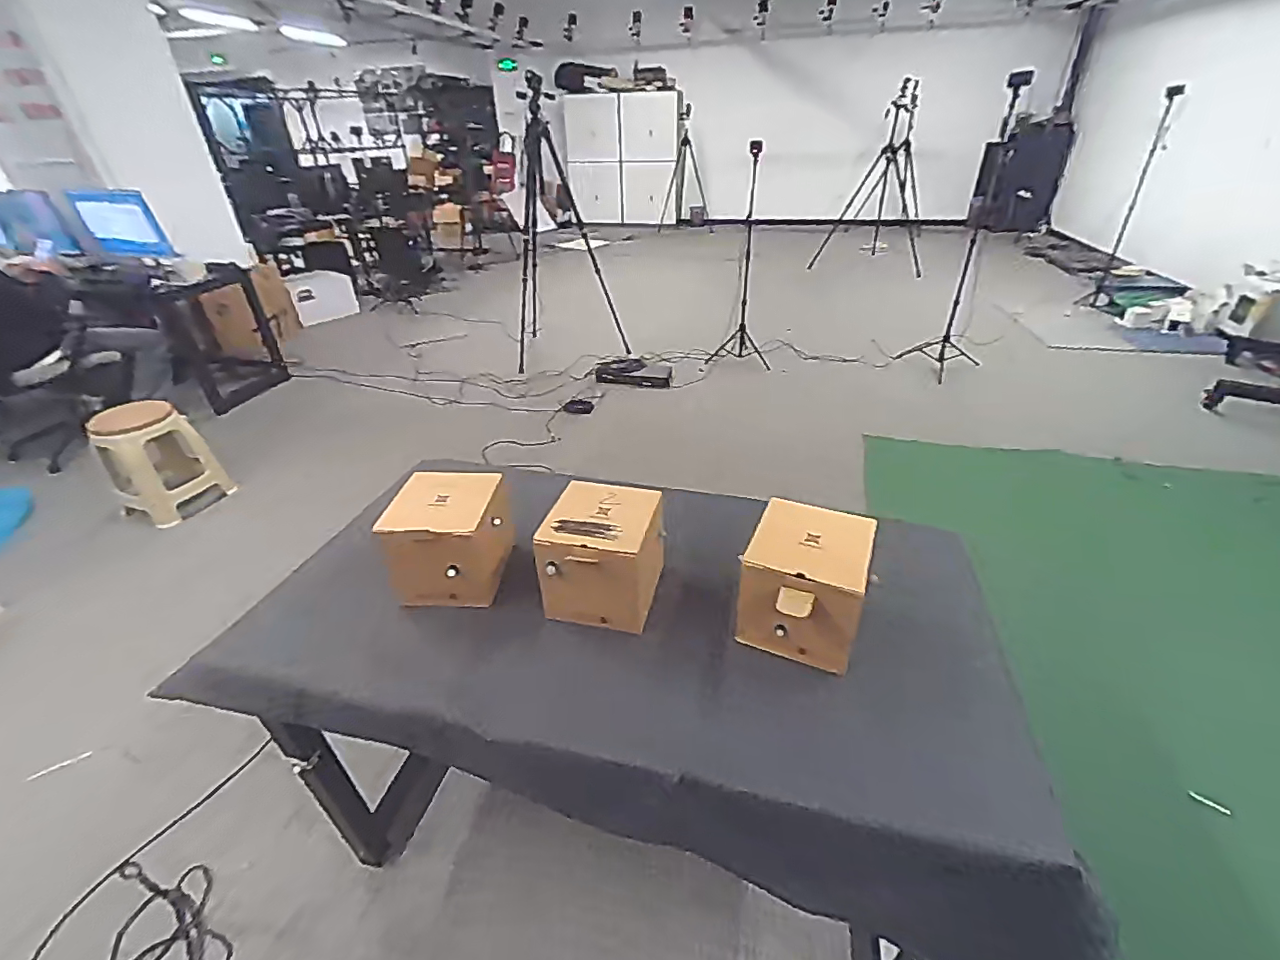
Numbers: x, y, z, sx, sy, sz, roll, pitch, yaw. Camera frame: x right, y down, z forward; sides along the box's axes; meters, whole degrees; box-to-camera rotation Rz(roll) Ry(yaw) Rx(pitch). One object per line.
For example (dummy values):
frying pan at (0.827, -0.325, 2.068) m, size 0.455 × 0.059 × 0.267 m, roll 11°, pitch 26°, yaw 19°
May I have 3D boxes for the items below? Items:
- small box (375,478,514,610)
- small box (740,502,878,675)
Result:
small box at (-0.330, 0.113, 0.958) m, size 0.168 × 0.176 × 0.179 m, roll 1°, pitch 31°, yaw 3°
small box at (0.259, 0.164, 0.843) m, size 0.168 × 0.176 × 0.179 m, roll 13°, pitch 36°, yaw 22°
